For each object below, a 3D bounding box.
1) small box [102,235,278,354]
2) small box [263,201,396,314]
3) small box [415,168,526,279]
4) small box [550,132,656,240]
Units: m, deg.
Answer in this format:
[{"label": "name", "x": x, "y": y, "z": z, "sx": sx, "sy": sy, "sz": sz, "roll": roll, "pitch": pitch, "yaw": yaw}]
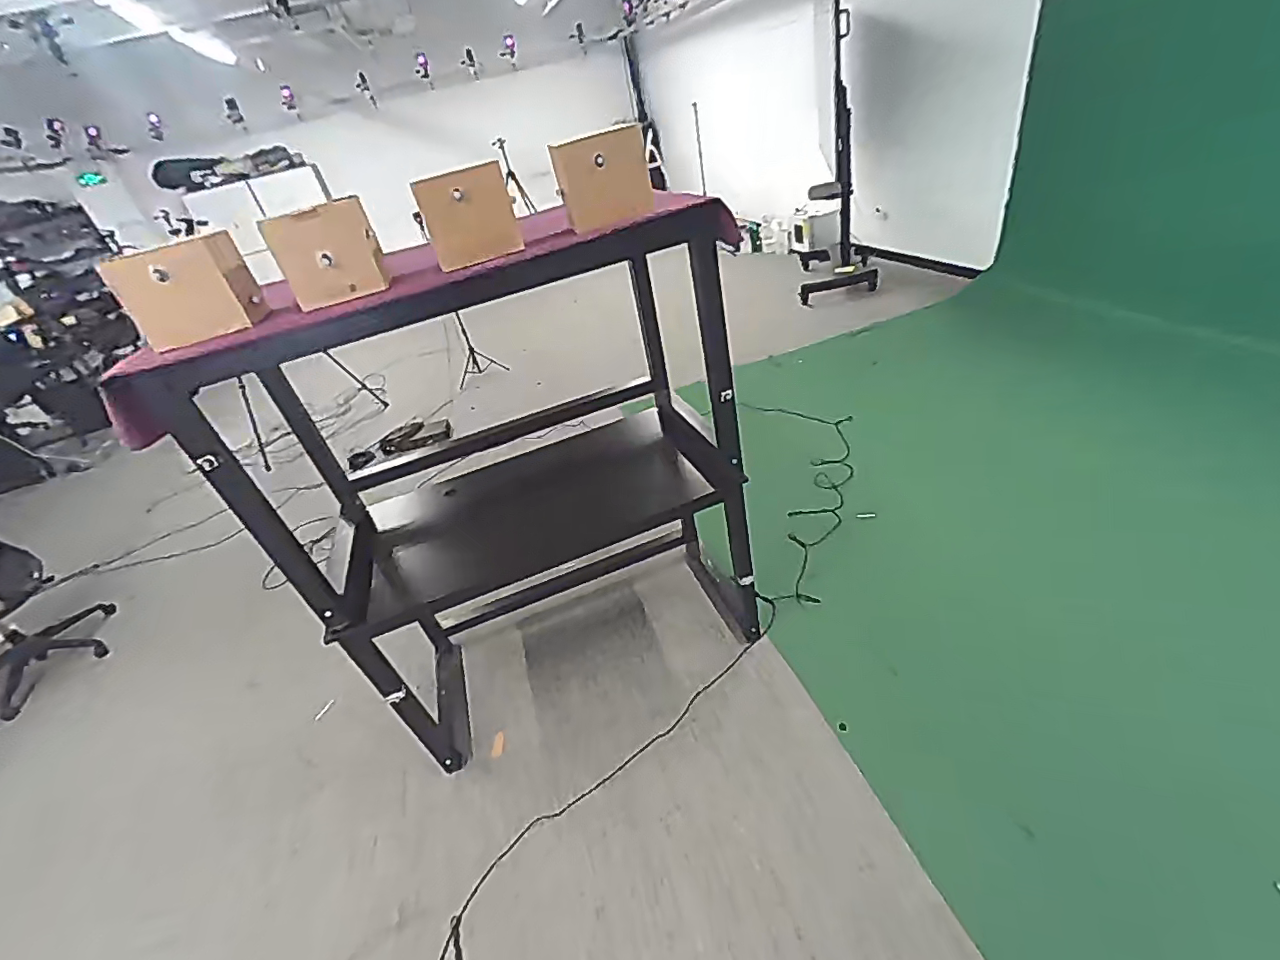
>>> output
[{"label": "small box", "x": -0.854, "y": -0.360, "z": 1.050, "sx": 0.179, "sy": 0.176, "sz": 0.168, "roll": -19, "pitch": 34, "yaw": -10}, {"label": "small box", "x": -0.611, "y": -0.448, "z": 1.092, "sx": 0.168, "sy": 0.176, "sz": 0.179, "roll": -20, "pitch": 33, "yaw": -10}, {"label": "small box", "x": -0.348, "y": -0.541, "z": 1.137, "sx": 0.179, "sy": 0.176, "sz": 0.168, "roll": -20, "pitch": 33, "yaw": -8}, {"label": "small box", "x": -0.080, "y": -0.636, "z": 1.174, "sx": 0.179, "sy": 0.176, "sz": 0.168, "roll": -18, "pitch": 35, "yaw": -5}]
